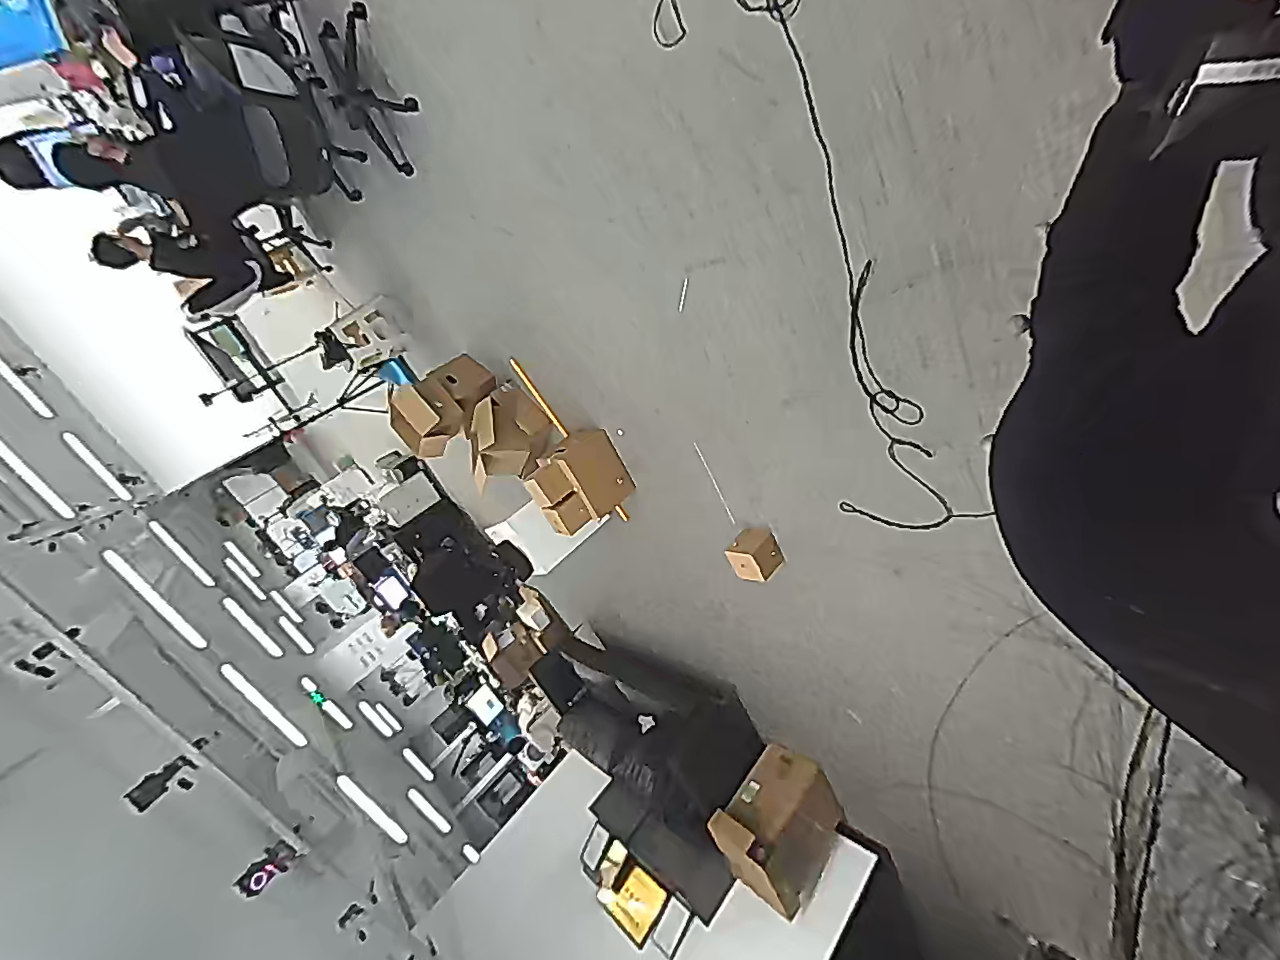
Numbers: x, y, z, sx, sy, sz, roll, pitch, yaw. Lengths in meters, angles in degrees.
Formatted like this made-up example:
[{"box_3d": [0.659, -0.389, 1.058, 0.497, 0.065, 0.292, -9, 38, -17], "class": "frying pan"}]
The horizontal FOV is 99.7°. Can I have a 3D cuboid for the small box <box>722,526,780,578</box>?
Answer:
[{"box_3d": [0.524, 0.331, 2.537, 0.179, 0.176, 0.168, 0, 126, 53], "class": "small box"}]
